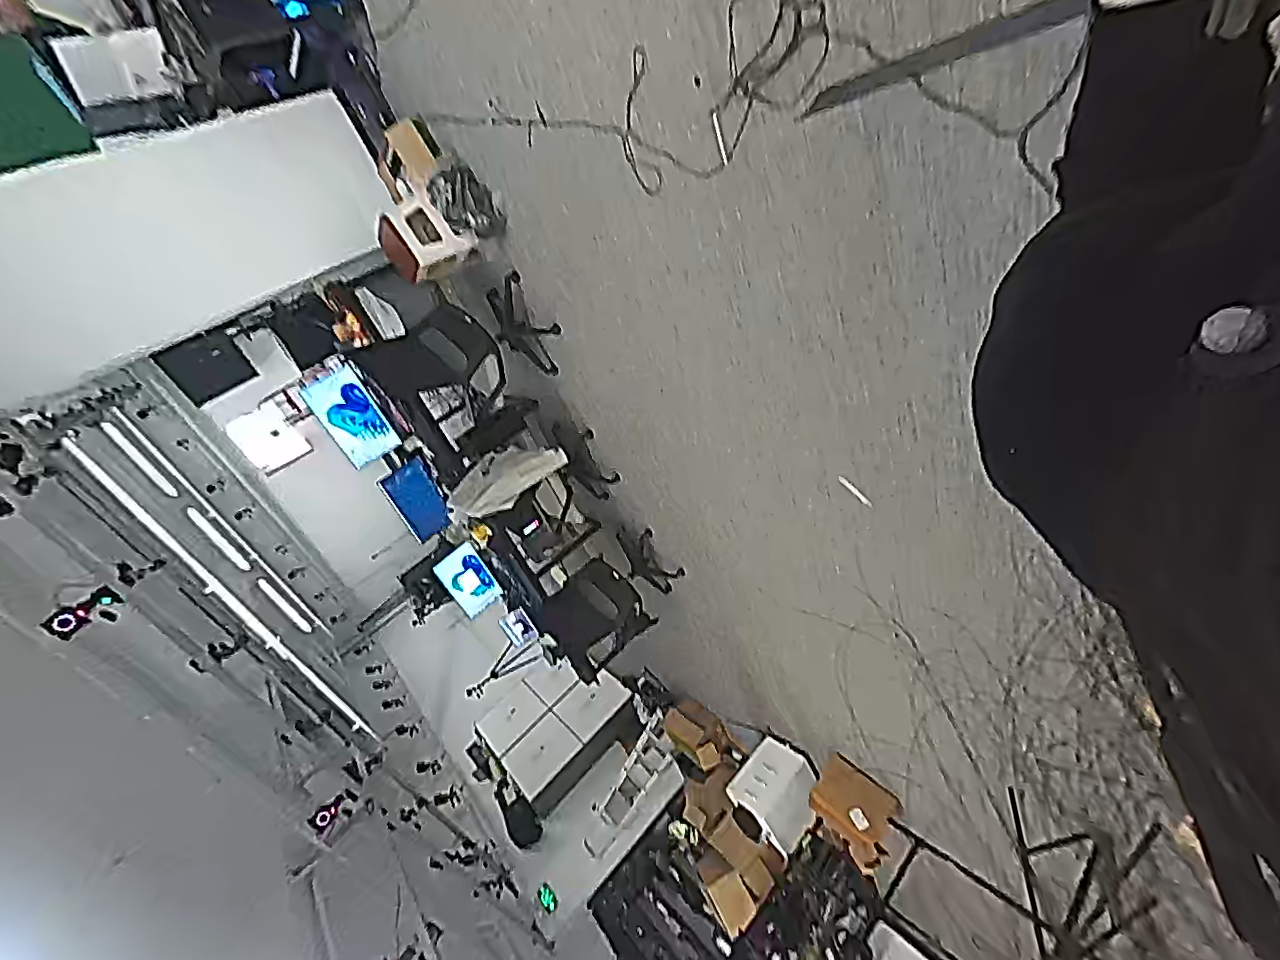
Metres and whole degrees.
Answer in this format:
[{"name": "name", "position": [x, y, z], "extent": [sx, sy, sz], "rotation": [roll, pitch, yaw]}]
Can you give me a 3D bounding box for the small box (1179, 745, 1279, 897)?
[{"name": "small box", "position": [1.213, 0.668, 1.066], "extent": [0.168, 0.176, 0.179], "rotation": [20, 140, 48]}]
